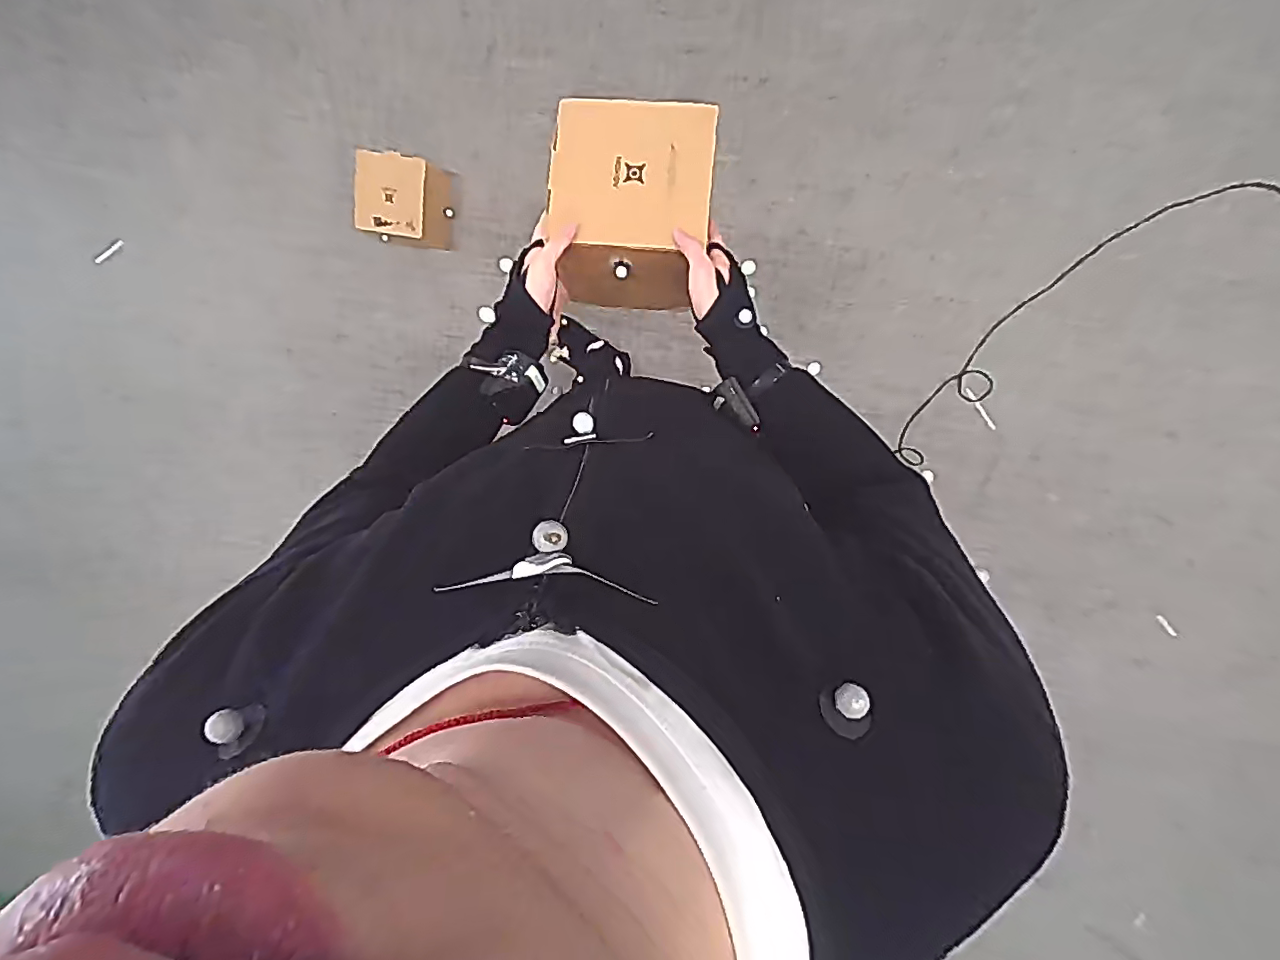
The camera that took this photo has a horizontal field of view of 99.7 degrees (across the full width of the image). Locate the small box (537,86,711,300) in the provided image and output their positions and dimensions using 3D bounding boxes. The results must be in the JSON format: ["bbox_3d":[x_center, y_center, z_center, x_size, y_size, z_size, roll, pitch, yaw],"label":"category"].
[{"bbox_3d":[-0.014,-0.332,0.655,0.179,0.176,0.168,4,86,2],"label":"small box"}]

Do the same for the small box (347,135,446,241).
[{"bbox_3d":[-0.591,-0.709,1.328,0.168,0.176,0.179,10,104,0],"label":"small box"}]
